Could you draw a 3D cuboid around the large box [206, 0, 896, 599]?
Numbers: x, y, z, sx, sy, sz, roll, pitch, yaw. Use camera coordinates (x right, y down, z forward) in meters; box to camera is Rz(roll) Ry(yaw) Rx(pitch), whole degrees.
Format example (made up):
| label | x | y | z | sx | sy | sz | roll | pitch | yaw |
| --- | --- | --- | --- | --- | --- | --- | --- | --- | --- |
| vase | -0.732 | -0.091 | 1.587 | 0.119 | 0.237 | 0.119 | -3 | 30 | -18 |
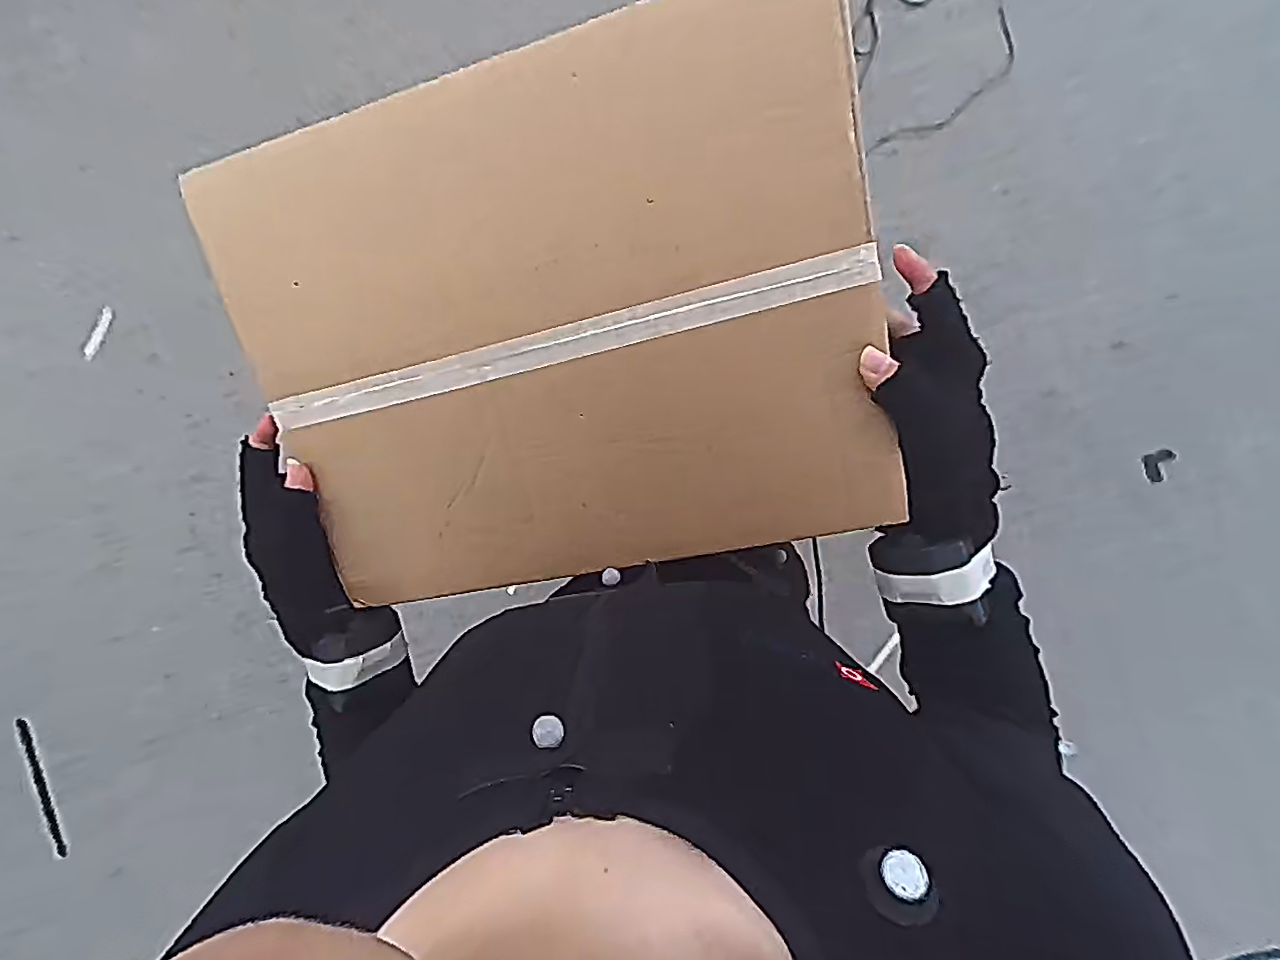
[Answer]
| label | x | y | z | sx | sy | sz | roll | pitch | yaw |
| --- | --- | --- | --- | --- | --- | --- | --- | --- | --- |
| large box | -0.037 | -0.130 | 0.490 | 0.408 | 0.320 | 0.320 | -11 | 104 | 12 |
